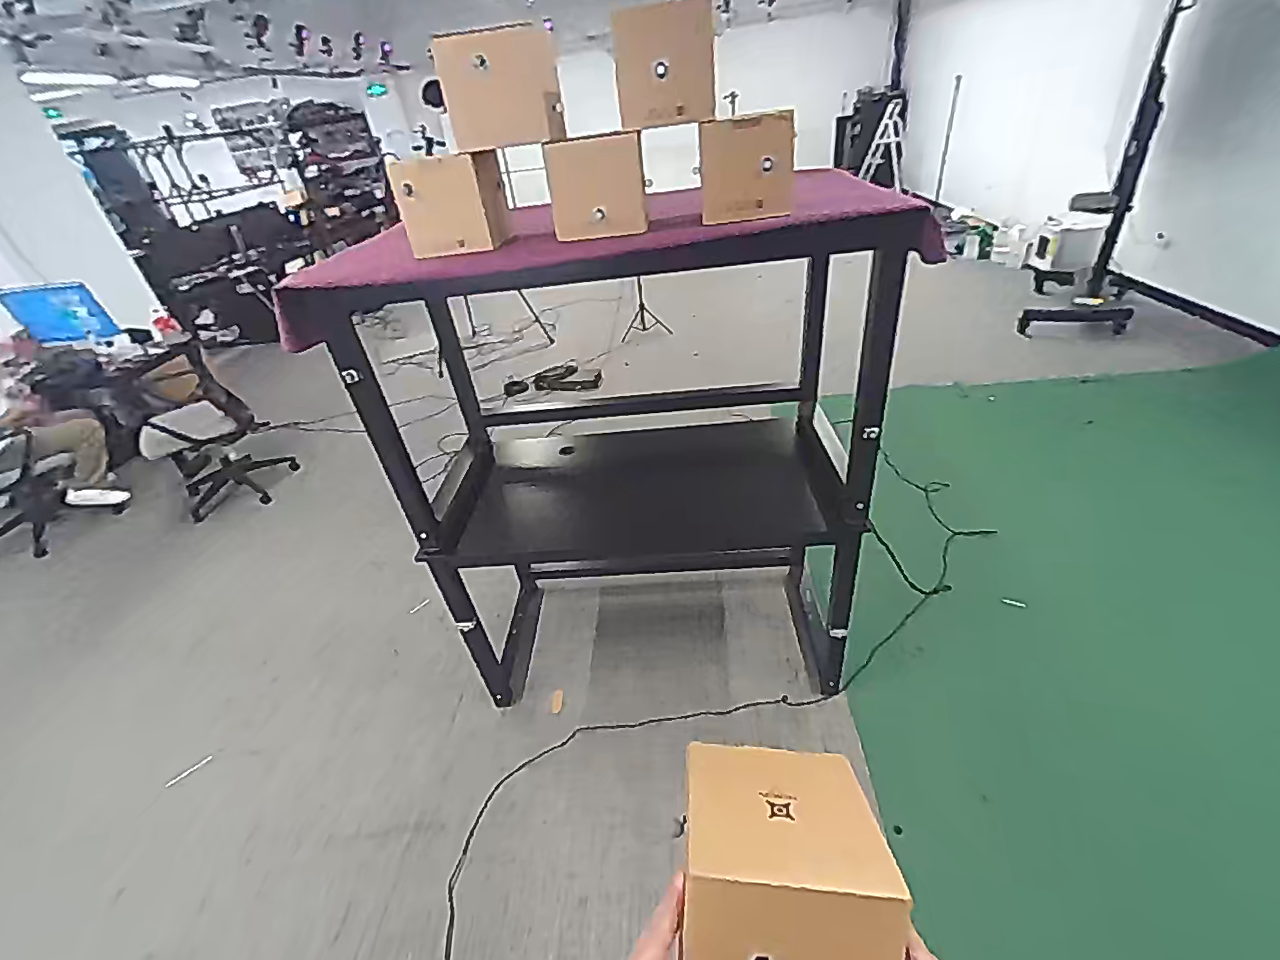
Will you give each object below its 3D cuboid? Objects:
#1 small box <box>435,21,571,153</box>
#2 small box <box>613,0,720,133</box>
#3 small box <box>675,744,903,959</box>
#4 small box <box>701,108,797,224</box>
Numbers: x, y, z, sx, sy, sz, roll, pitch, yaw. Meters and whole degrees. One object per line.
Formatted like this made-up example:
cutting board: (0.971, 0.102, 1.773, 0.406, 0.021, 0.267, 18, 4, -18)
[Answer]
small box: (-0.236, -0.701, 0.982, 0.179, 0.176, 0.168, -2, 34, 7)
small box: (0.056, -0.723, 0.955, 0.168, 0.176, 0.179, -1, 34, 9)
small box: (0.118, 0.371, 0.488, 0.168, 0.176, 0.179, 2, 5, 4)
small box: (0.206, -0.594, 1.030, 0.168, 0.176, 0.179, -2, 34, 9)
